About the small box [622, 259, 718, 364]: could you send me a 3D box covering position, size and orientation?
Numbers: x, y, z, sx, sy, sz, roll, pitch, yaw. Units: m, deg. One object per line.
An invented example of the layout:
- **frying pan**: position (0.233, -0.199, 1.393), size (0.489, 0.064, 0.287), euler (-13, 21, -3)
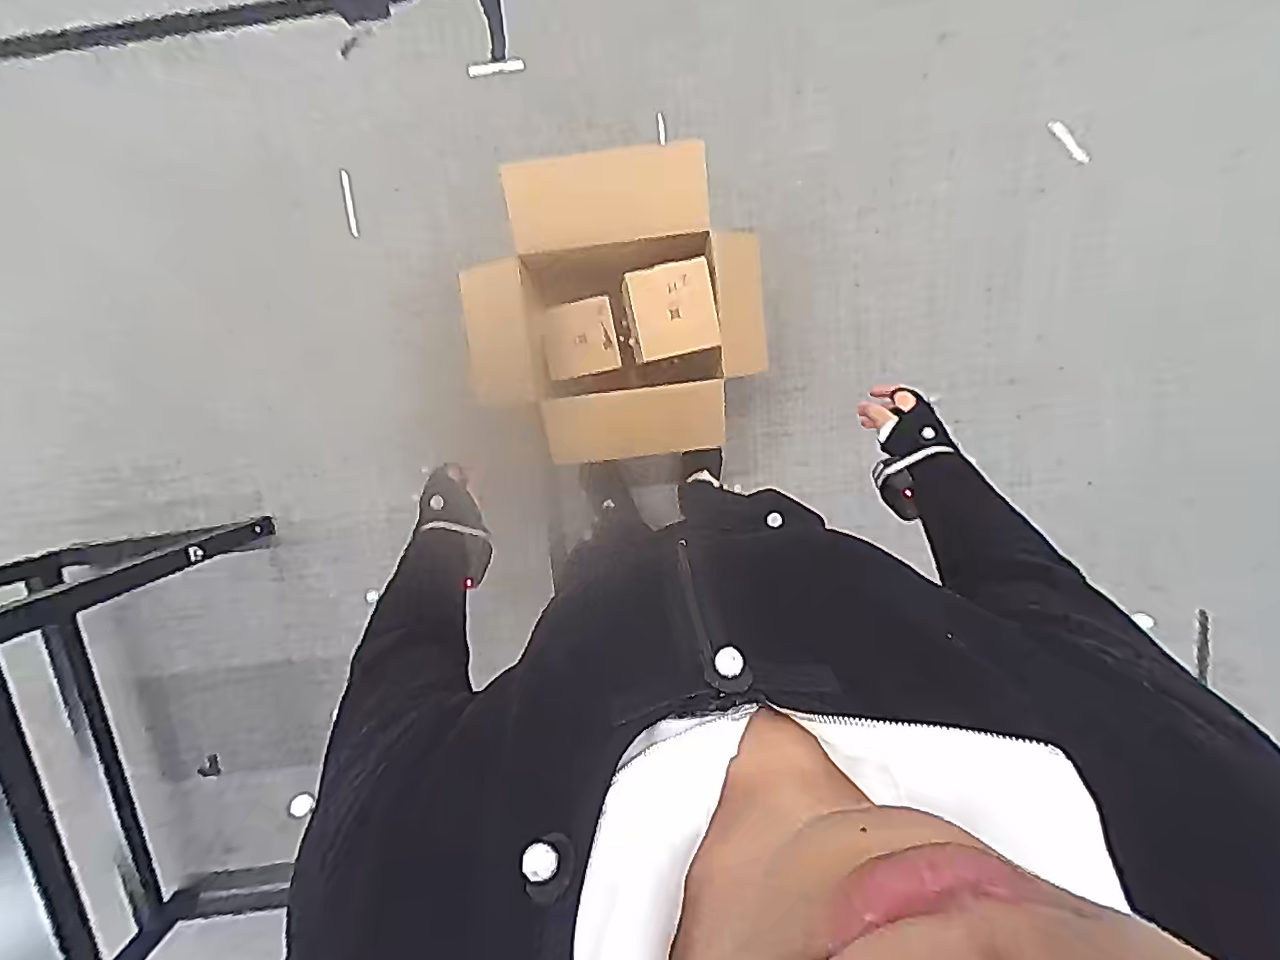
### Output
- **small box**: position (0.058, -0.350, 1.157), size (0.168, 0.176, 0.179), euler (-13, 100, -2)
